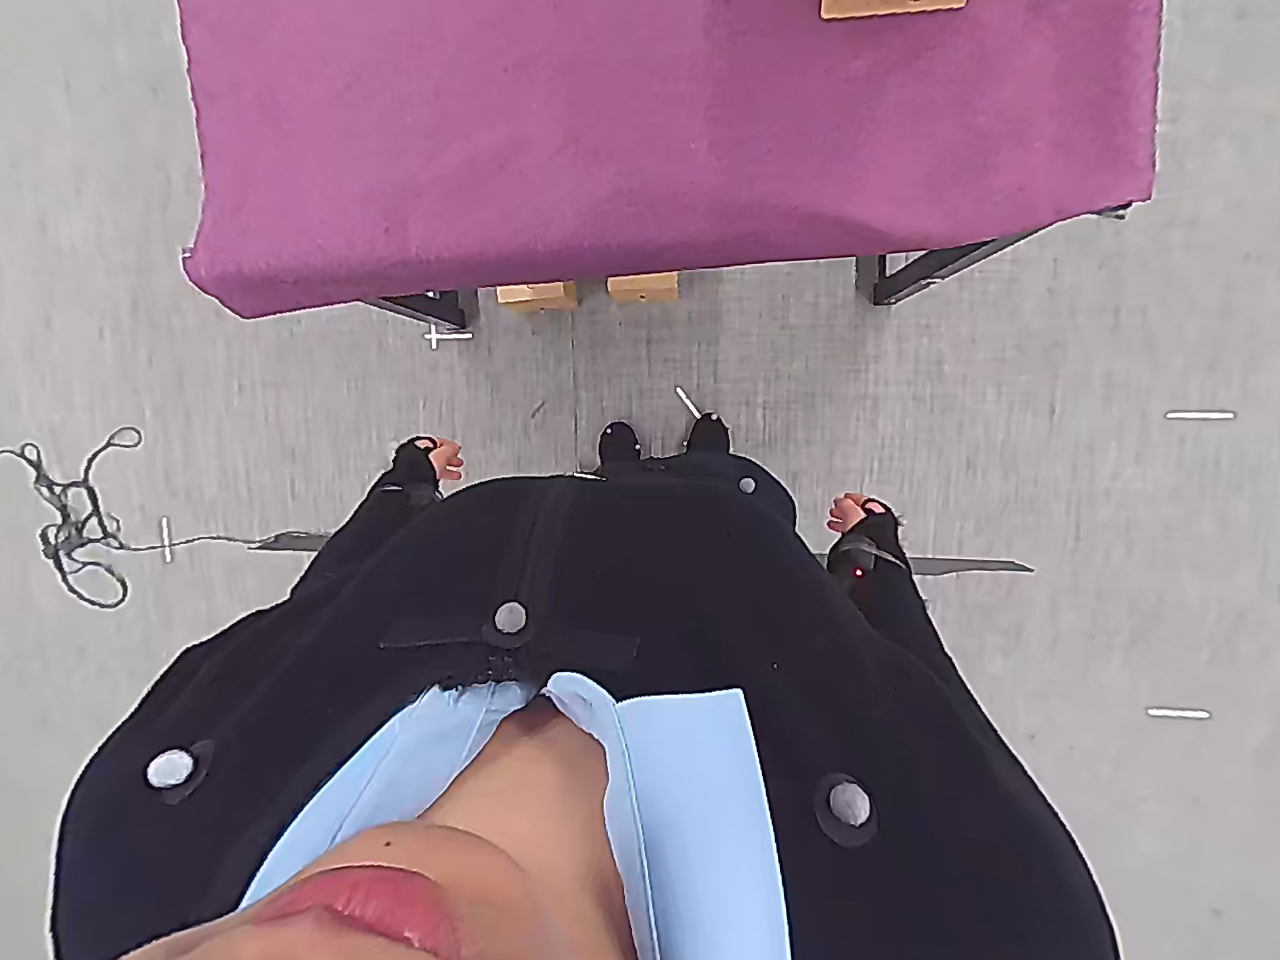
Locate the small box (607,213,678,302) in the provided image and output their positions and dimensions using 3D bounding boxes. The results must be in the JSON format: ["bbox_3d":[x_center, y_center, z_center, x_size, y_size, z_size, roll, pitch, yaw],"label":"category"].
[{"bbox_3d":[0.010,-0.544,1.344,0.168,0.176,0.179,1,97,4],"label":"small box"}]

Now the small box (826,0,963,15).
[{"bbox_3d":[0.299,-0.640,0.573,0.168,0.176,0.179,0,96,6],"label":"small box"}]
